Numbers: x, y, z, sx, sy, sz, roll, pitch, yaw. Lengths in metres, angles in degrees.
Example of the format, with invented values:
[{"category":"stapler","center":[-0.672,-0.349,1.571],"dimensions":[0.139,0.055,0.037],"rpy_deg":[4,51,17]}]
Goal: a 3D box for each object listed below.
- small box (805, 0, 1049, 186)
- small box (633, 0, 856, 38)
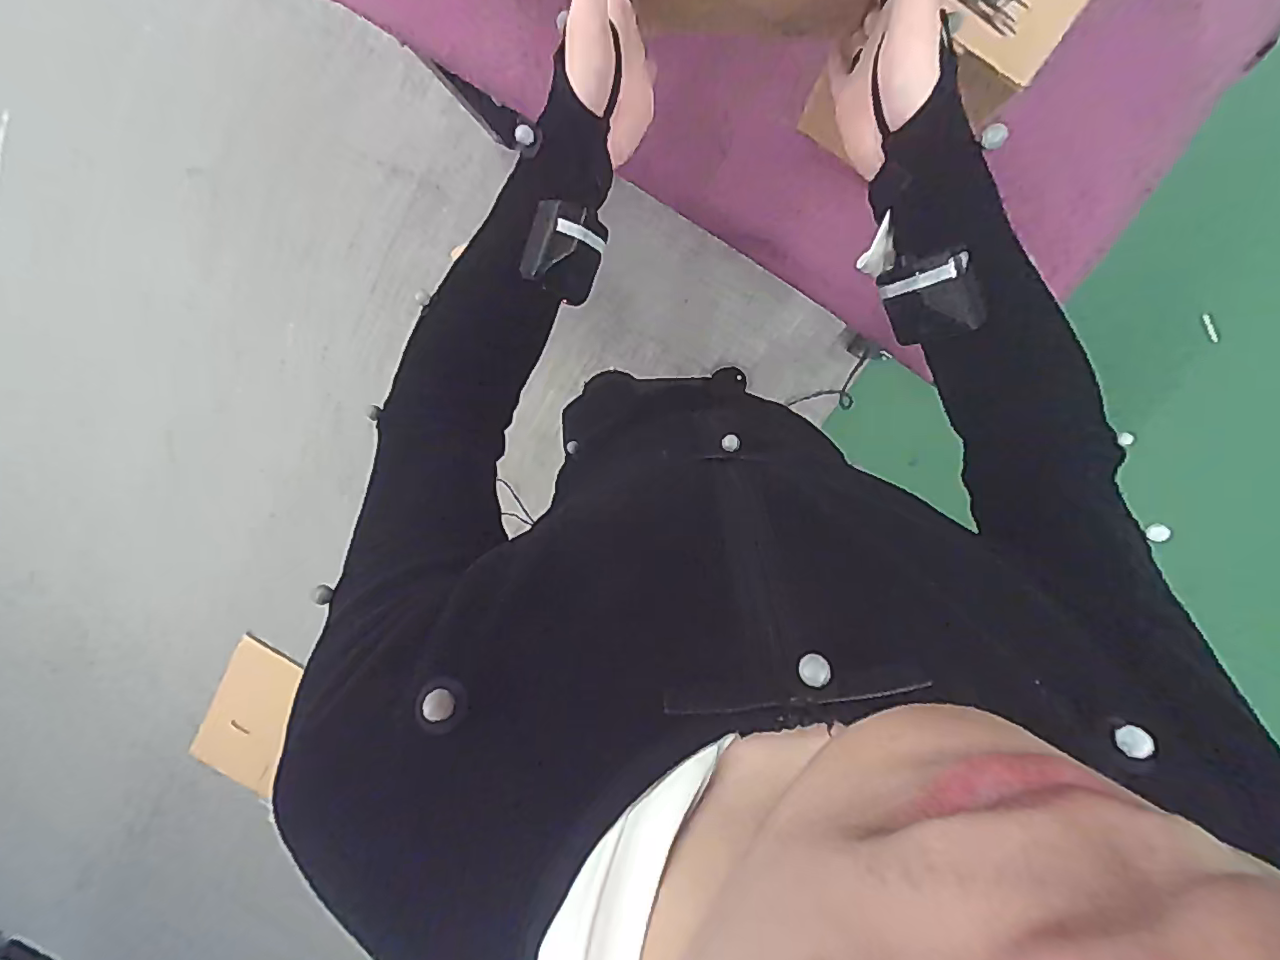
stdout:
[{"category":"small box","center":[0.331,-0.503,0.671],"dimensions":[0.179,0.176,0.168],"rpy_deg":[33,104,-3]},{"category":"small box","center":[0.076,-0.415,0.345],"dimensions":[0.179,0.176,0.168],"rpy_deg":[7,111,7]}]
